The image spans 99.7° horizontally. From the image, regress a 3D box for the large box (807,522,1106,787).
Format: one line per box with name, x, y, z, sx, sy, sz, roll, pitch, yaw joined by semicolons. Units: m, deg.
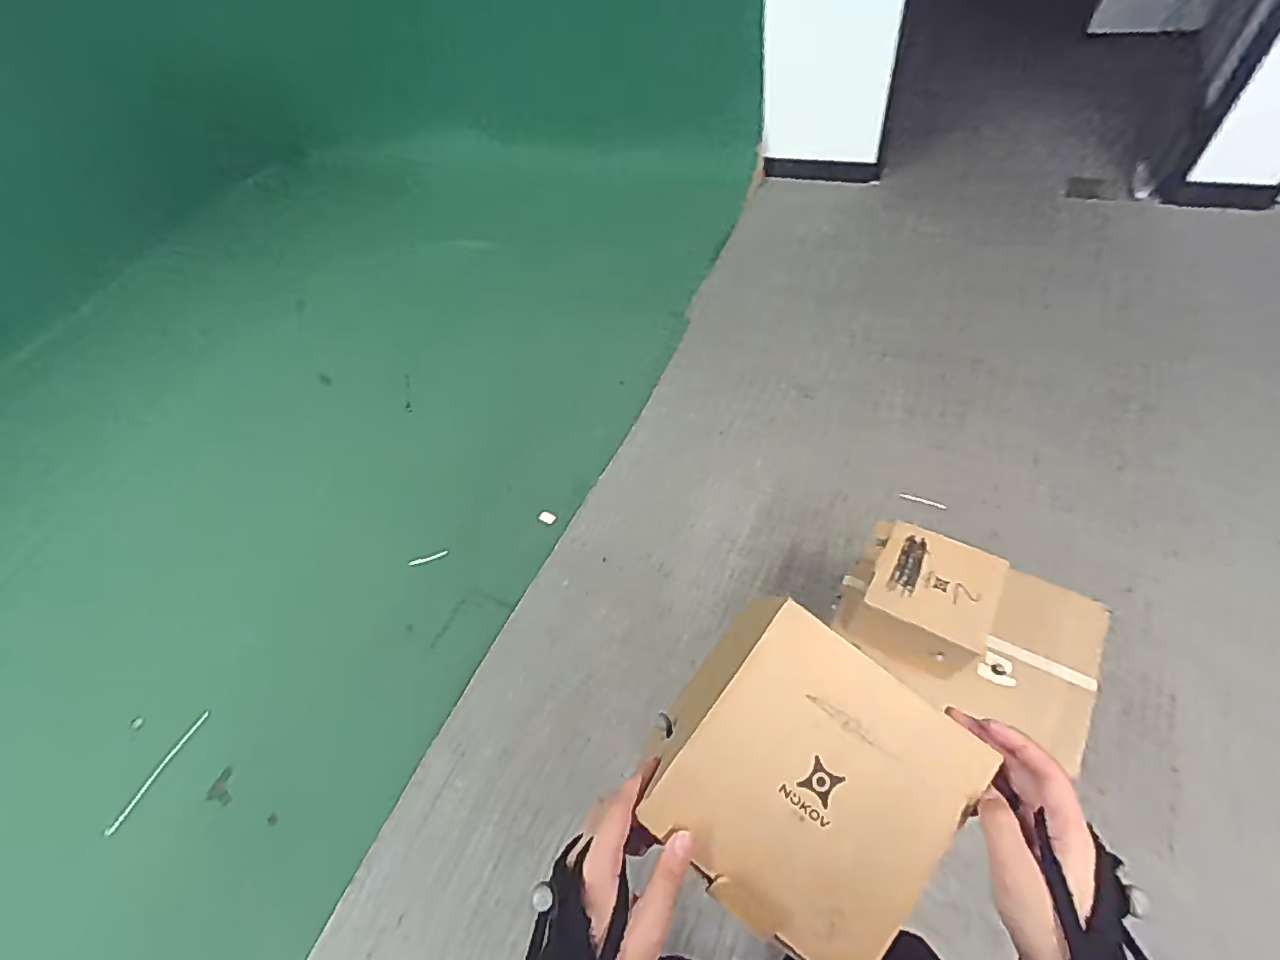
large box;0.595;0.348;1.085;0.408;0.320;0.320;24;66;23
